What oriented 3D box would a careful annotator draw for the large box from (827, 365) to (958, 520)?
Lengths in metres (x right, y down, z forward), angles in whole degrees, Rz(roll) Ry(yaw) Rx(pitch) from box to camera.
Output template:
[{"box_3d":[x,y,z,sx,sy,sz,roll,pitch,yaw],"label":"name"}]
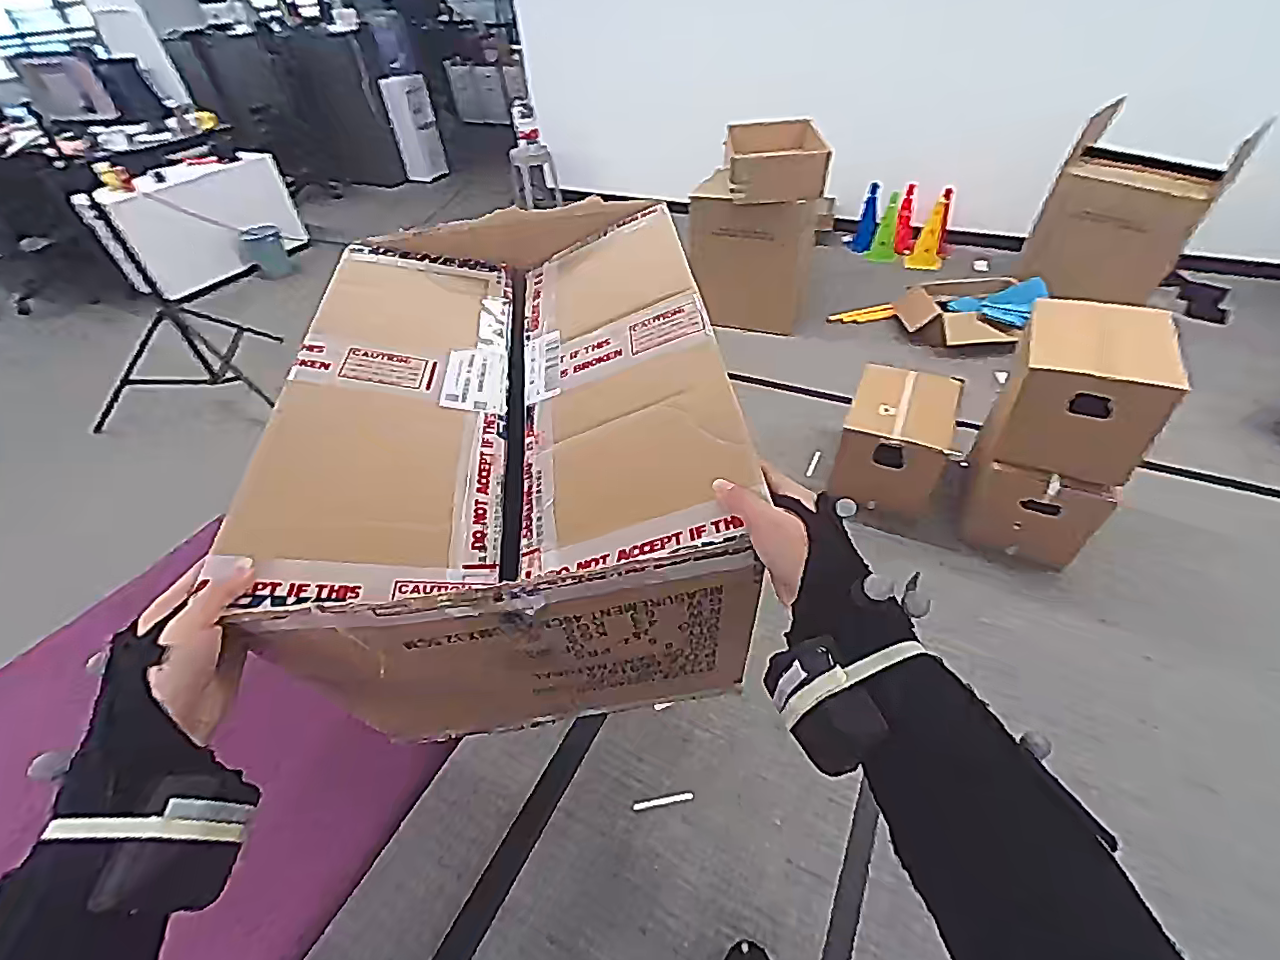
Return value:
[{"box_3d":[0.865,-0.138,1.865,0.320,0.320,0.408,16,48,21],"label":"large box"}]
